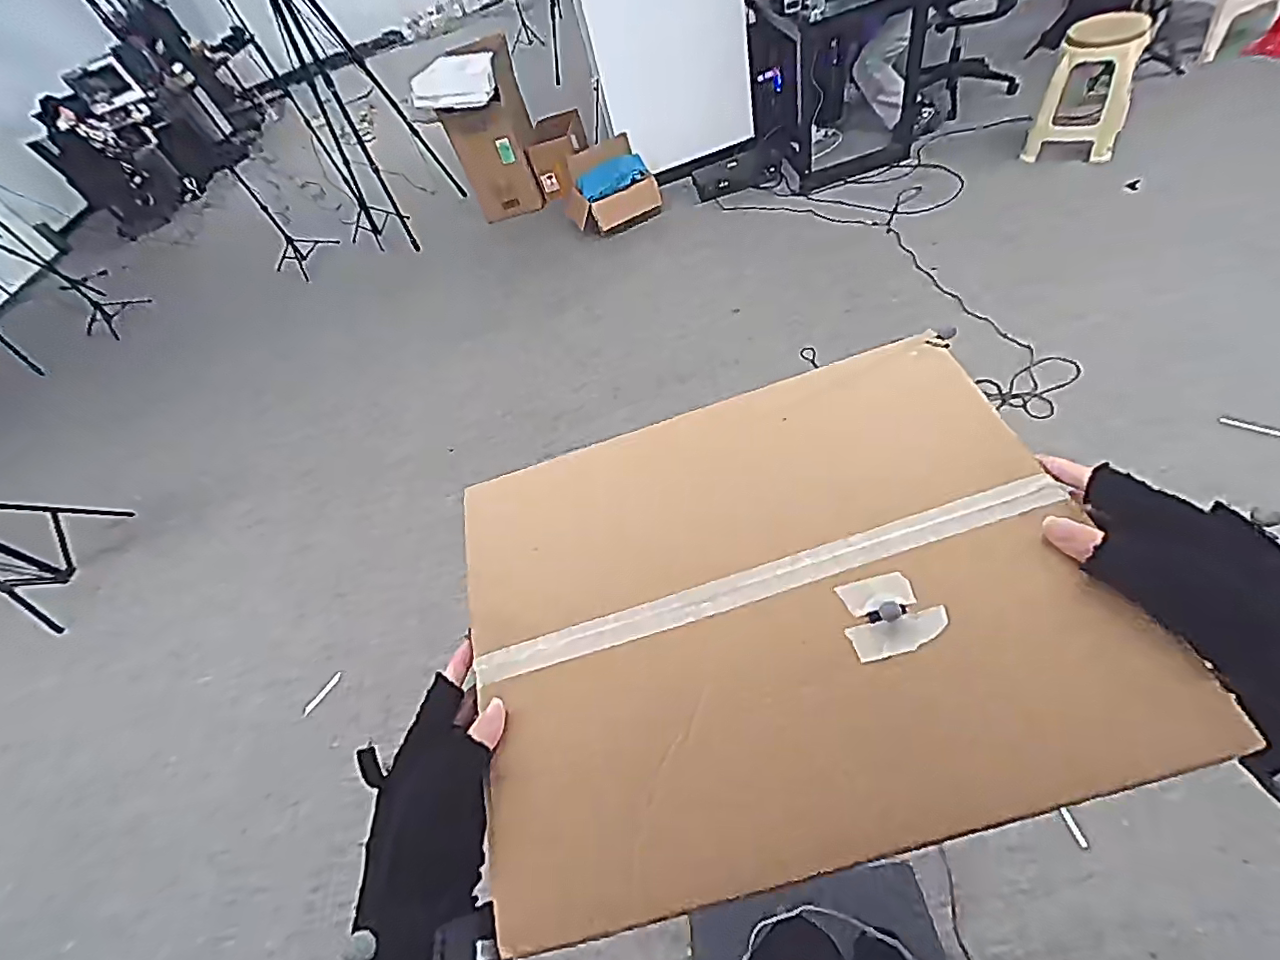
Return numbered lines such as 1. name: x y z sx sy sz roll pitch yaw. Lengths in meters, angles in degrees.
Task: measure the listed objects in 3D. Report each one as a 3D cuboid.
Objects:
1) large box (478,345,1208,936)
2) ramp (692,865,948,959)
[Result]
1. large box: 0.113 0.148 0.502 0.408 0.320 0.320 -19 58 3
2. ramp: 0.381 1.199 0.801 0.509 0.206 0.991 -17 49 6
